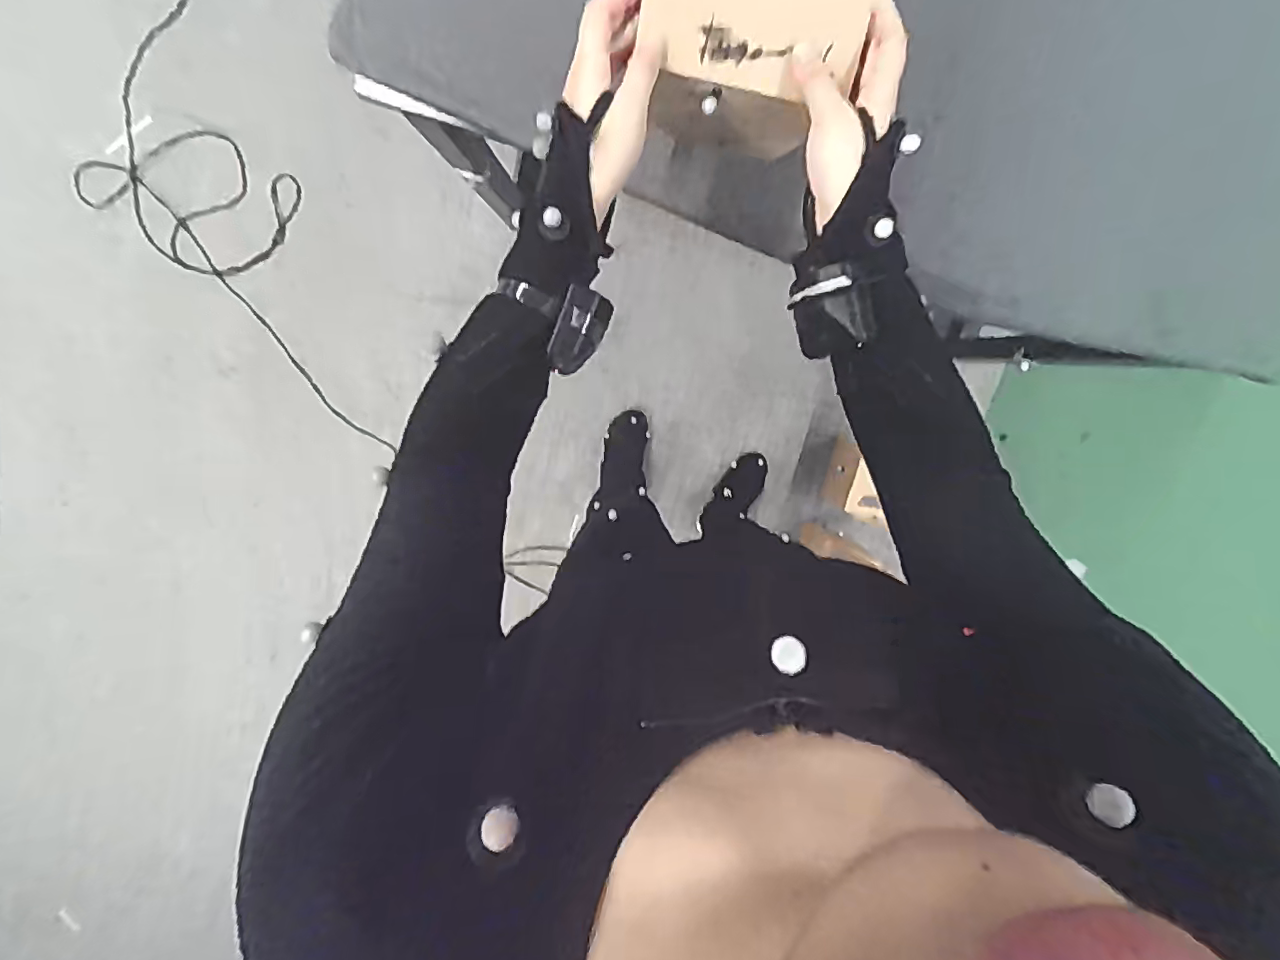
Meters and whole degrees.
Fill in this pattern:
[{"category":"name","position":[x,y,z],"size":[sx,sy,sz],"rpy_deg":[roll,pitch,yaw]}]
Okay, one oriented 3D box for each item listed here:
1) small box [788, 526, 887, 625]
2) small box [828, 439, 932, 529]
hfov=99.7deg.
[{"category":"small box","position":[0.512,0.249,1.440],"size":[0.168,0.176,0.179],"rpy_deg":[23,102,-5]},{"category":"small box","position":[0.602,0.005,1.385],"size":[0.168,0.176,0.179],"rpy_deg":[13,102,-4]}]
